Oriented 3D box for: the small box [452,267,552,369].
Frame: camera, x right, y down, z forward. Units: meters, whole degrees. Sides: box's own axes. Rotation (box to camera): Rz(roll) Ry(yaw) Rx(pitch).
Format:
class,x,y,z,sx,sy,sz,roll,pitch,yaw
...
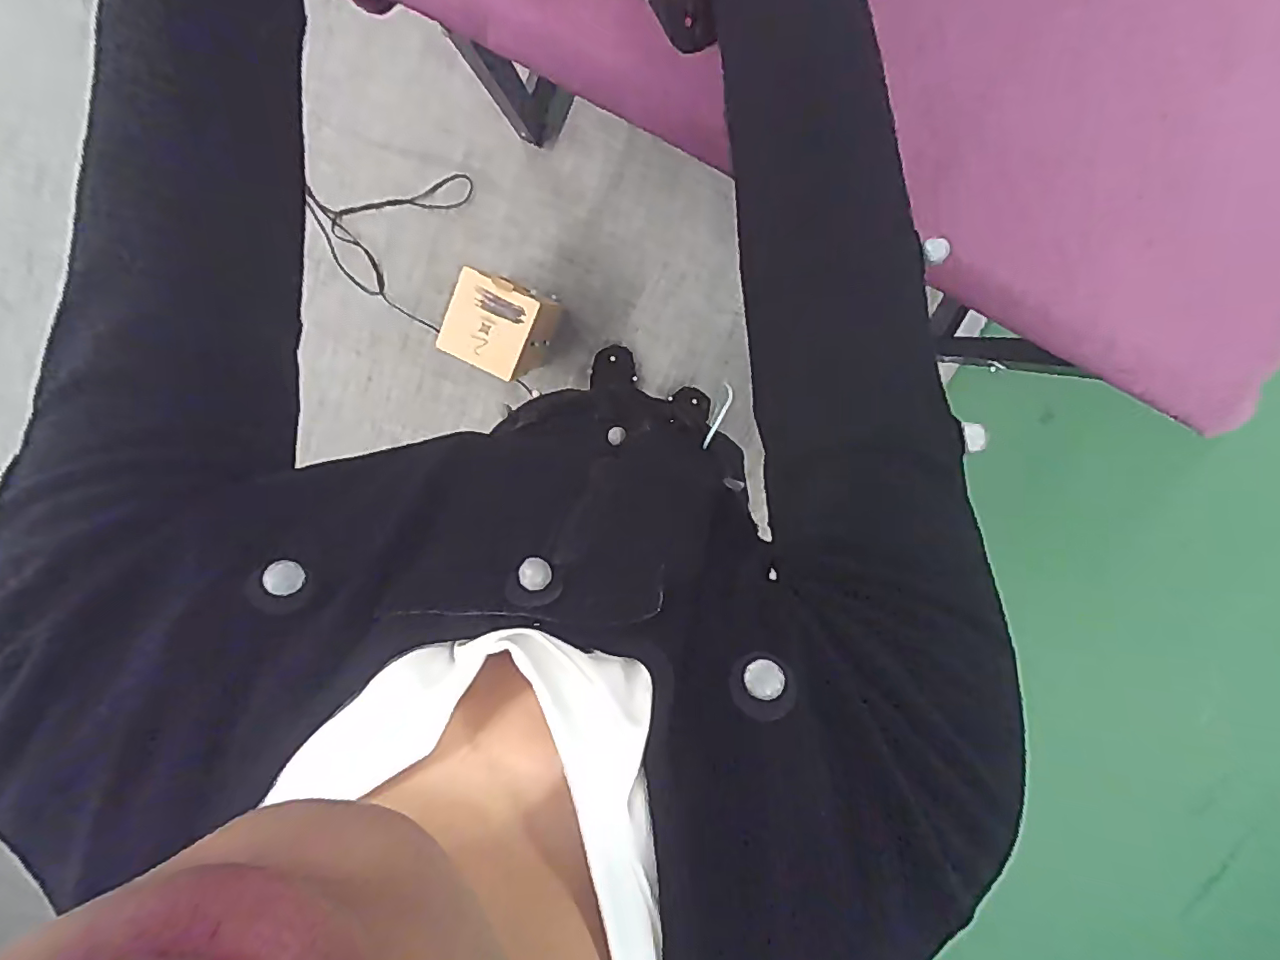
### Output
class,x,y,z,sx,sy,sz,roll,pitch,yaw
small box,-0.325,-0.391,1.313,0.168,0.176,0.179,27,106,-6
